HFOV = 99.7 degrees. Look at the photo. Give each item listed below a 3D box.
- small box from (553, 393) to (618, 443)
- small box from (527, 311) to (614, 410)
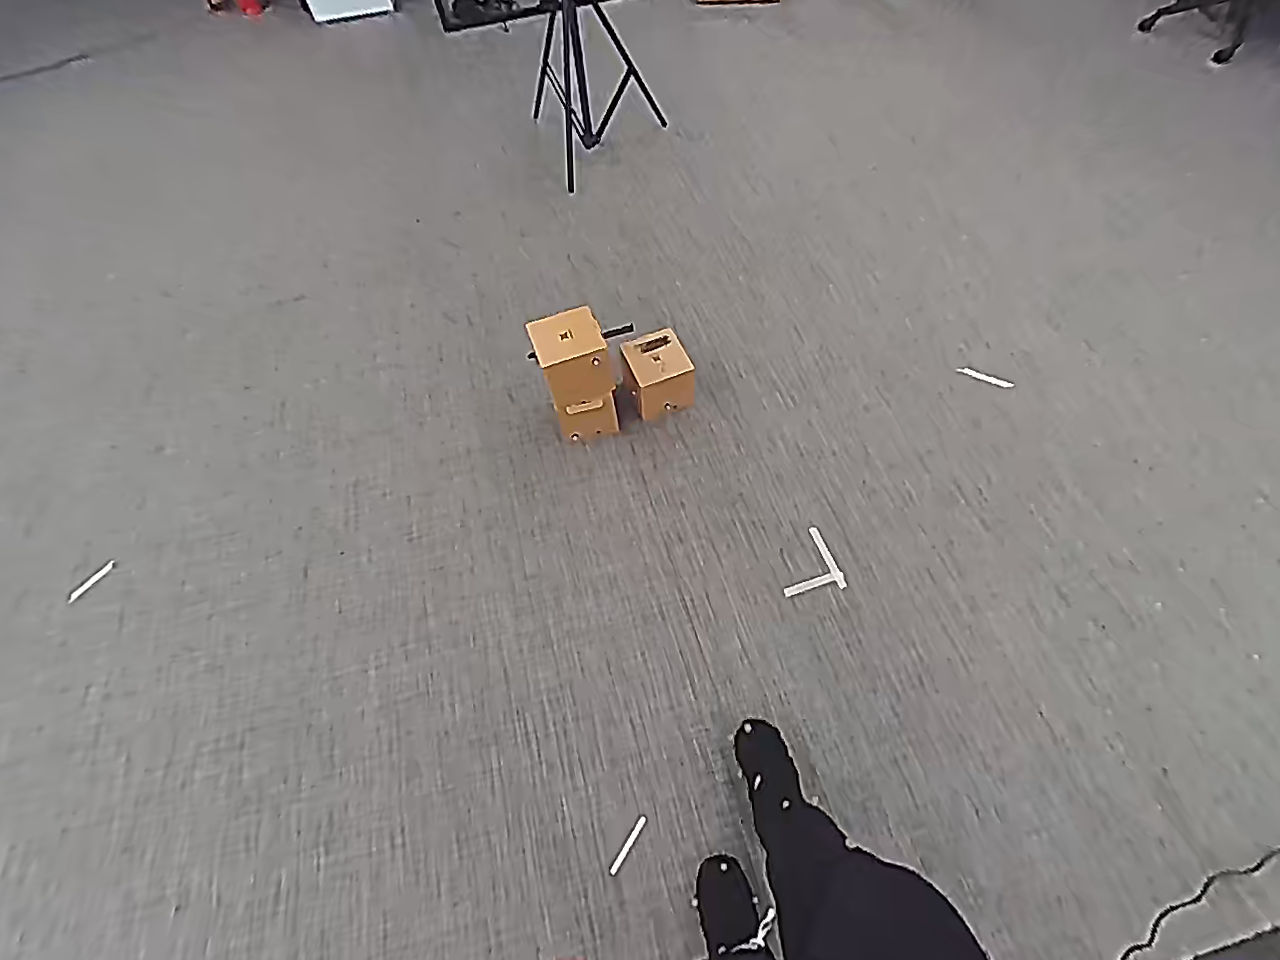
[{"bbox_3d":[-0.165,-0.226,1.581,0.168,0.176,0.179,-14,60,-3],"label":"small box"},{"bbox_3d":[-0.181,-0.313,1.444,0.179,0.176,0.168,-20,61,-7],"label":"small box"}]
